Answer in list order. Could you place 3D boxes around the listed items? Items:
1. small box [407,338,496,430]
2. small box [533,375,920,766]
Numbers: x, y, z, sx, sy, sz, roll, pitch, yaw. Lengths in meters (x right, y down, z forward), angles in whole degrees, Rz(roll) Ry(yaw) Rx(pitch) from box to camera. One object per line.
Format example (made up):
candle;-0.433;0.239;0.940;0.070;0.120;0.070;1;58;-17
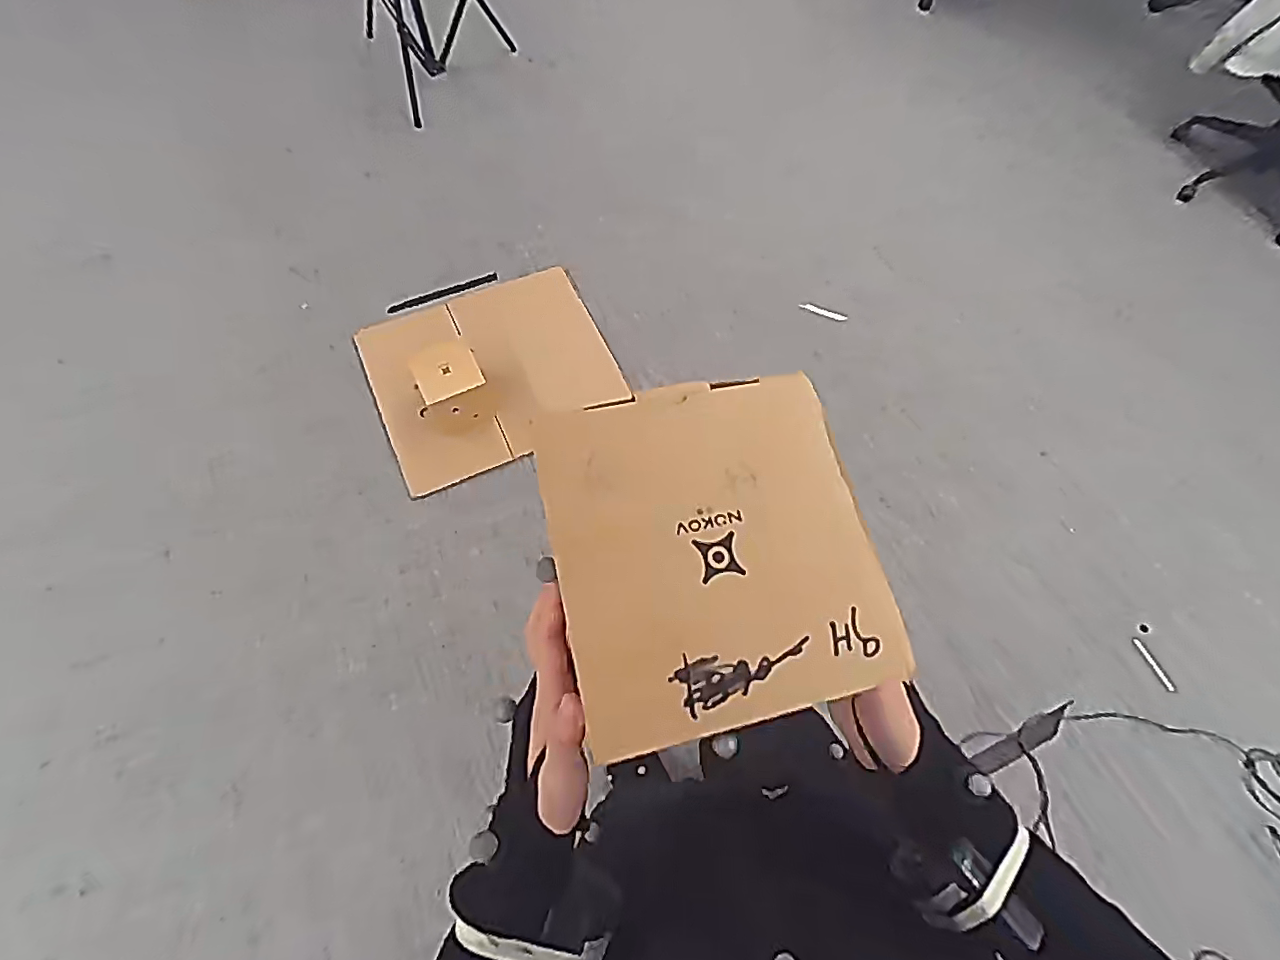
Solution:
small box;-0.522;-0.260;1.522;0.168;0.176;0.179;-25;71;-13
small box;0.031;0.060;0.349;0.168;0.176;0.179;-11;72;-8
